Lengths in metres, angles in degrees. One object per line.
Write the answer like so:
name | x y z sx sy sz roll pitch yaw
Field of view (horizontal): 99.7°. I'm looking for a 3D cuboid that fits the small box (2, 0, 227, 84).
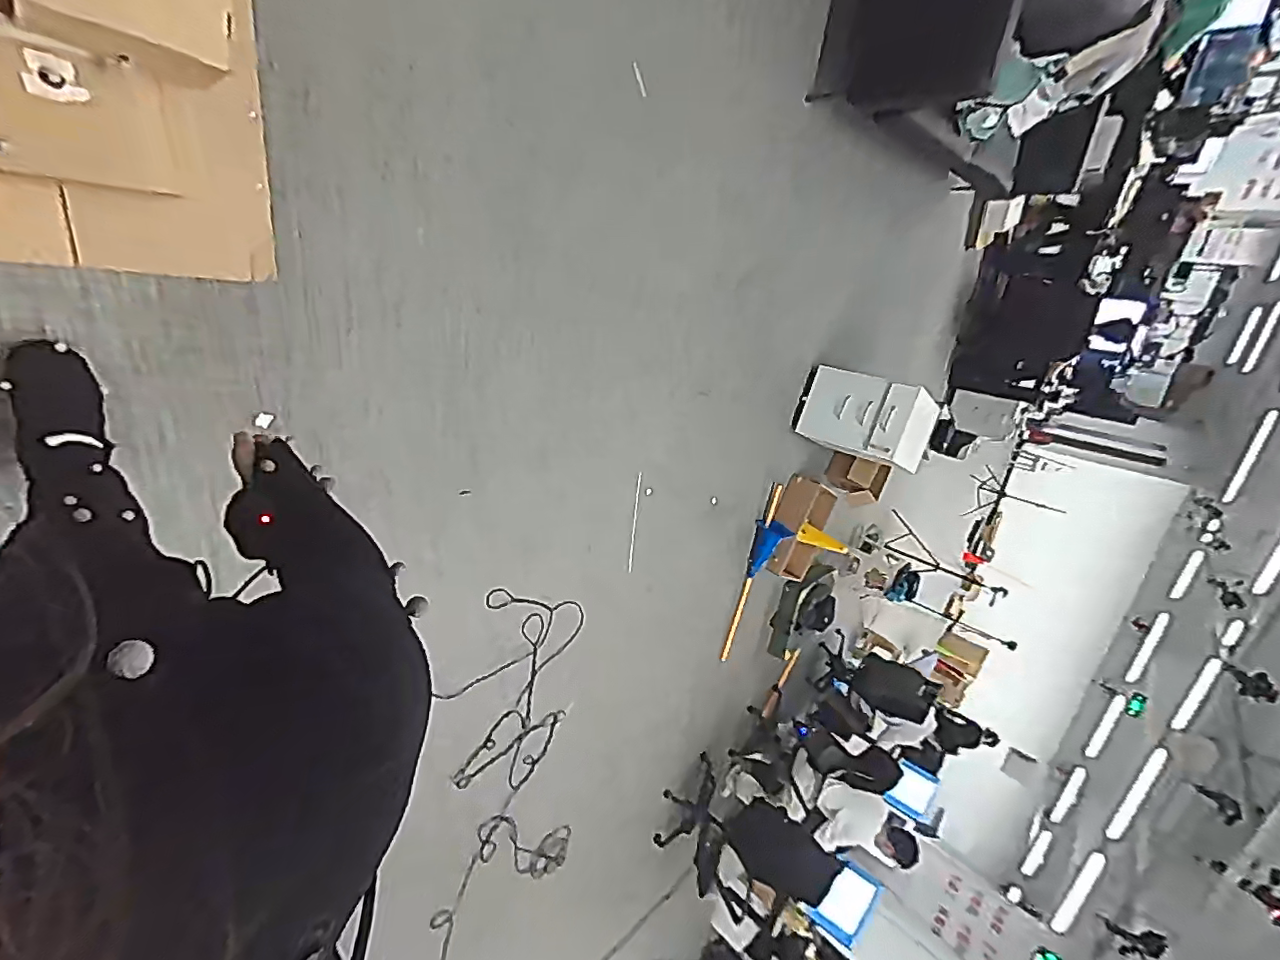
small box | -0.596 -0.577 0.610 0.179 0.176 0.168 -8 115 -46
